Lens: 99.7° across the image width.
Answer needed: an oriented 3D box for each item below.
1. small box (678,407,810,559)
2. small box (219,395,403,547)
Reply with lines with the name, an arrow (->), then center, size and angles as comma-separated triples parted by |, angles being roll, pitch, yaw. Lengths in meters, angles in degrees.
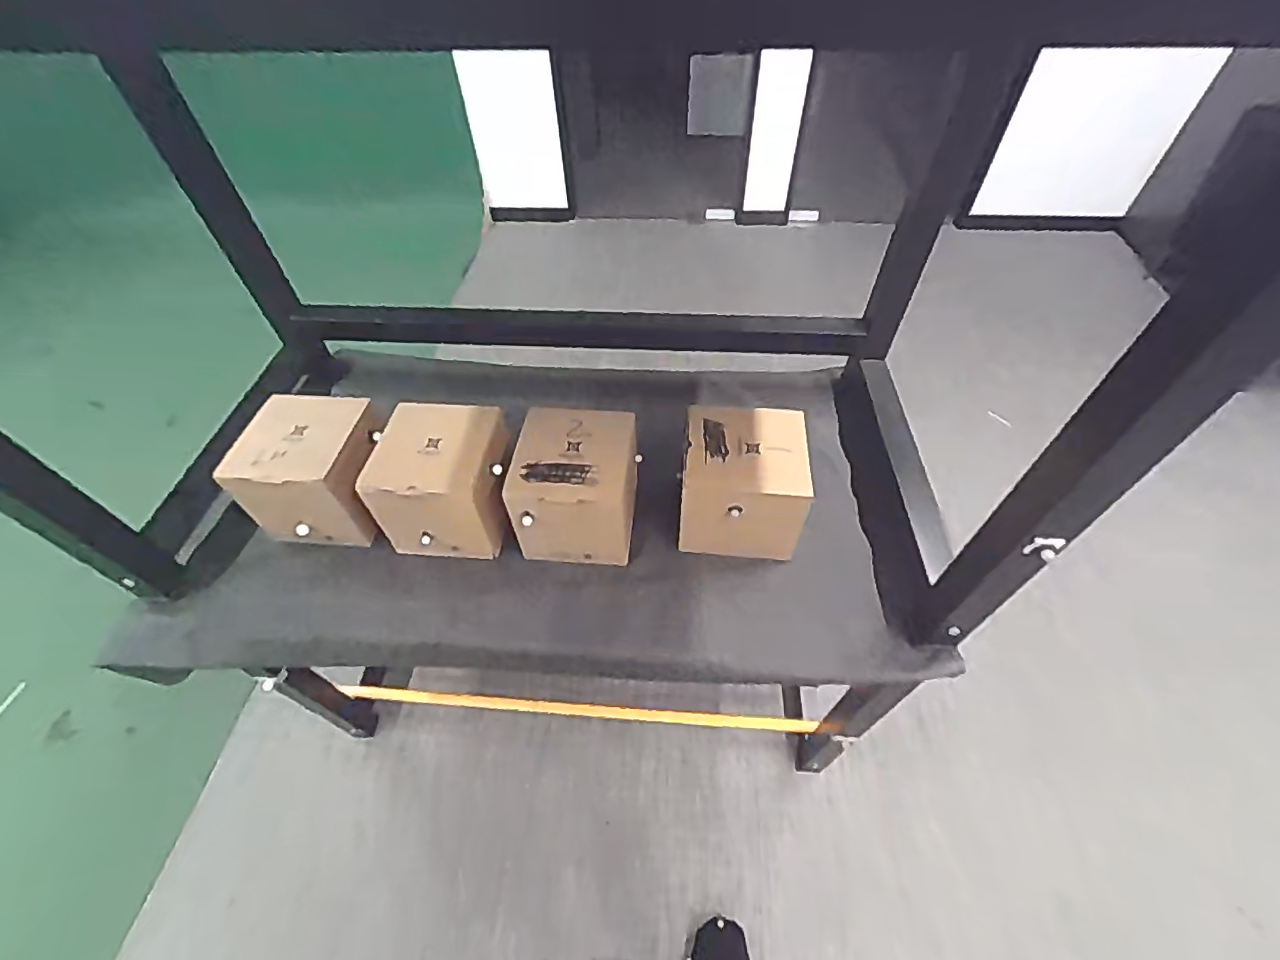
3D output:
small box -> 0.153, 0.007, 0.840 | 0.179, 0.176, 0.168 | 5, 52, 4
small box -> -0.508, -0.014, 0.873 | 0.168, 0.176, 0.179 | 3, 51, 3
